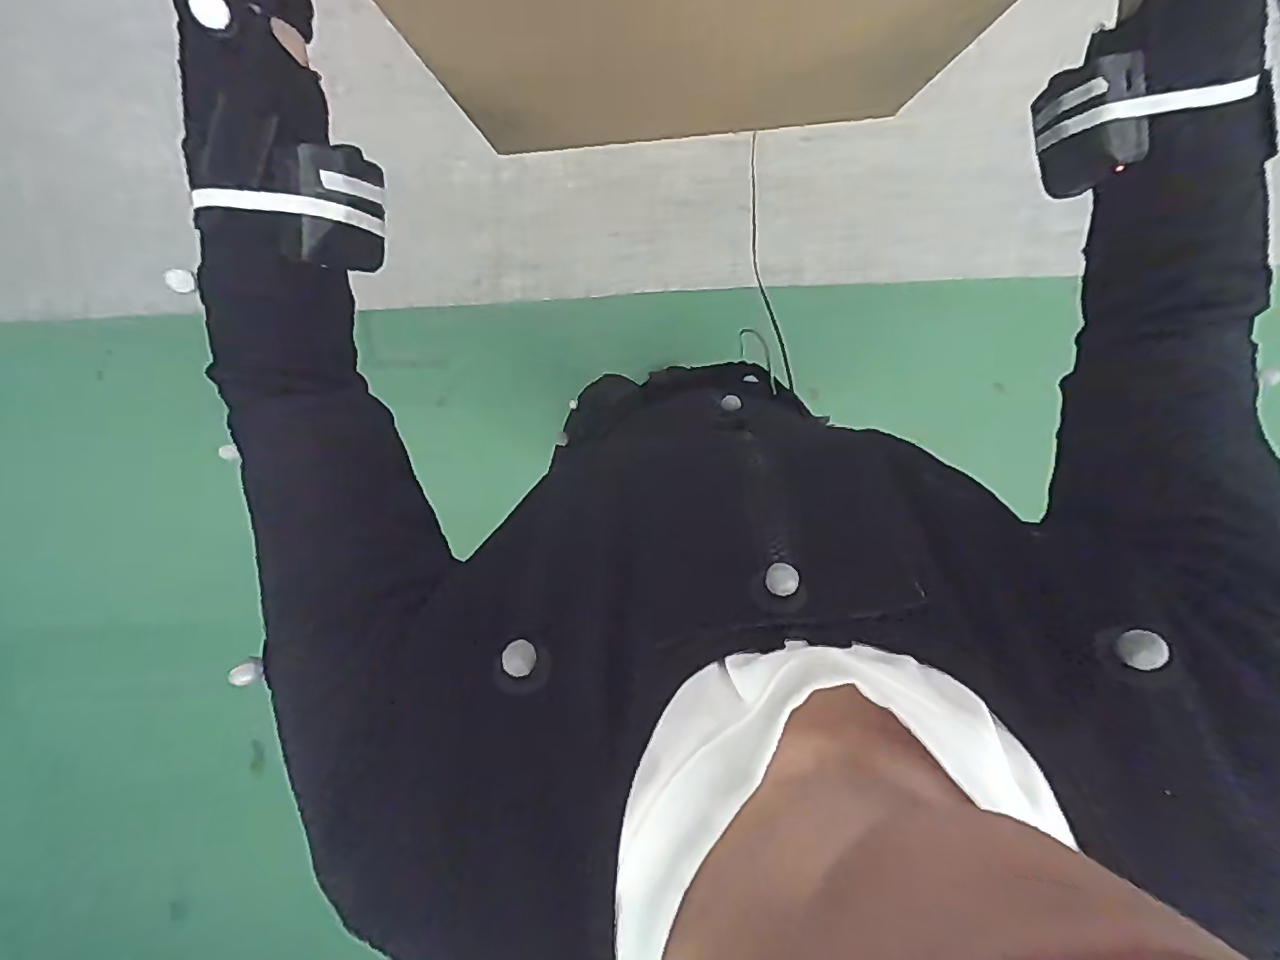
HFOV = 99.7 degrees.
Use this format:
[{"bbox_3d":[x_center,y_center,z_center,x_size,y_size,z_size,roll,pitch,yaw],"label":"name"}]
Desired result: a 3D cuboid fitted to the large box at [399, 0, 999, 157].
[{"bbox_3d":[0.039,-0.461,0.371,0.408,0.320,0.320,-5,104,1],"label":"large box"}]
